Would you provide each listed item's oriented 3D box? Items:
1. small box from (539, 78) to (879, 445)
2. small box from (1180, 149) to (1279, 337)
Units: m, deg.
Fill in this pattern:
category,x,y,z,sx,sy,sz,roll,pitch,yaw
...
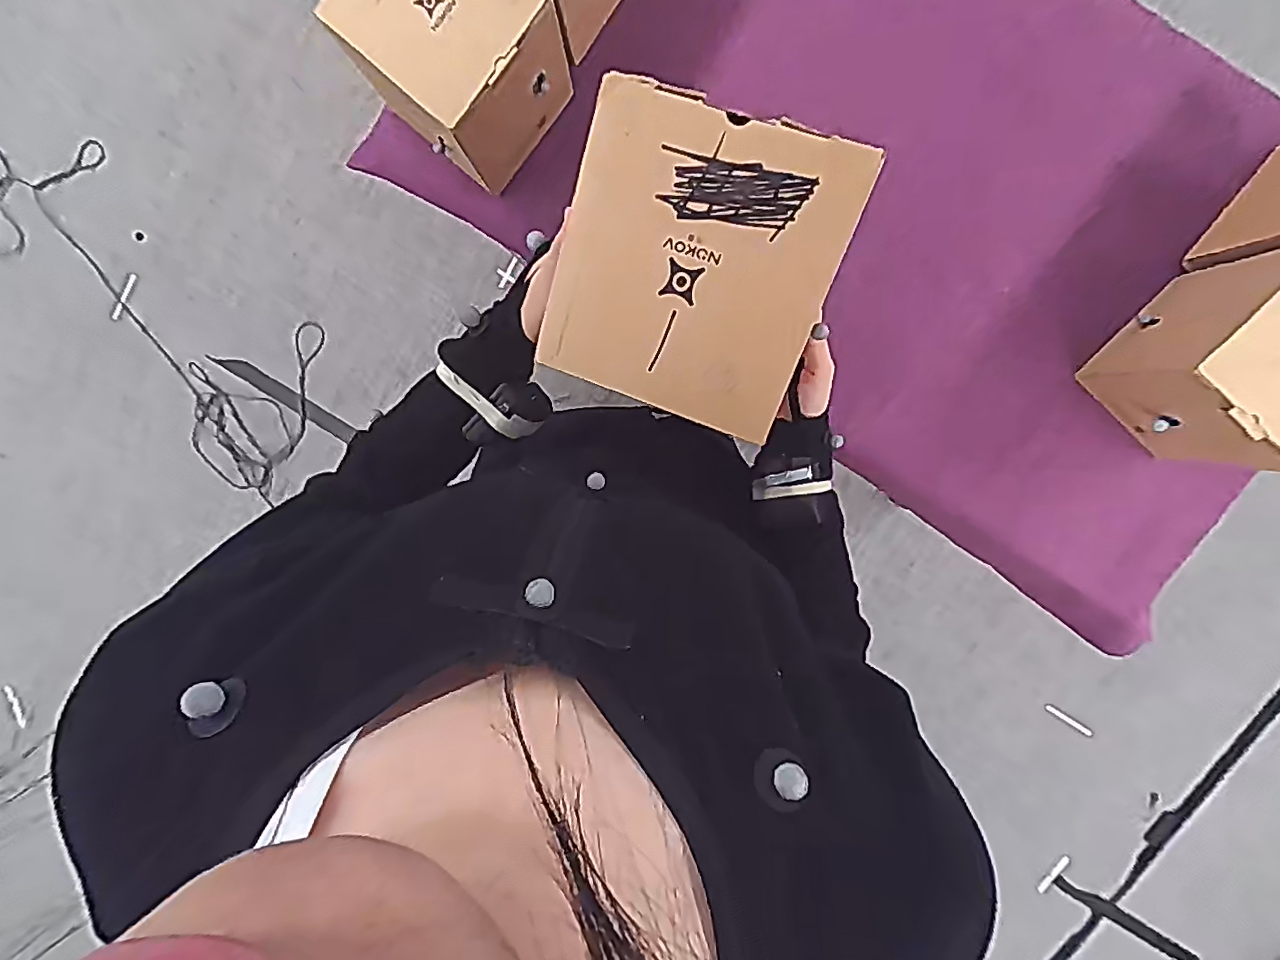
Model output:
category,x,y,z,sx,sy,sz,roll,pitch,yaw
small box,0.049,-0.149,0.407,0.168,0.176,0.179,22,109,7
small box,0.791,-0.284,0.606,0.168,0.176,0.179,36,97,-4
